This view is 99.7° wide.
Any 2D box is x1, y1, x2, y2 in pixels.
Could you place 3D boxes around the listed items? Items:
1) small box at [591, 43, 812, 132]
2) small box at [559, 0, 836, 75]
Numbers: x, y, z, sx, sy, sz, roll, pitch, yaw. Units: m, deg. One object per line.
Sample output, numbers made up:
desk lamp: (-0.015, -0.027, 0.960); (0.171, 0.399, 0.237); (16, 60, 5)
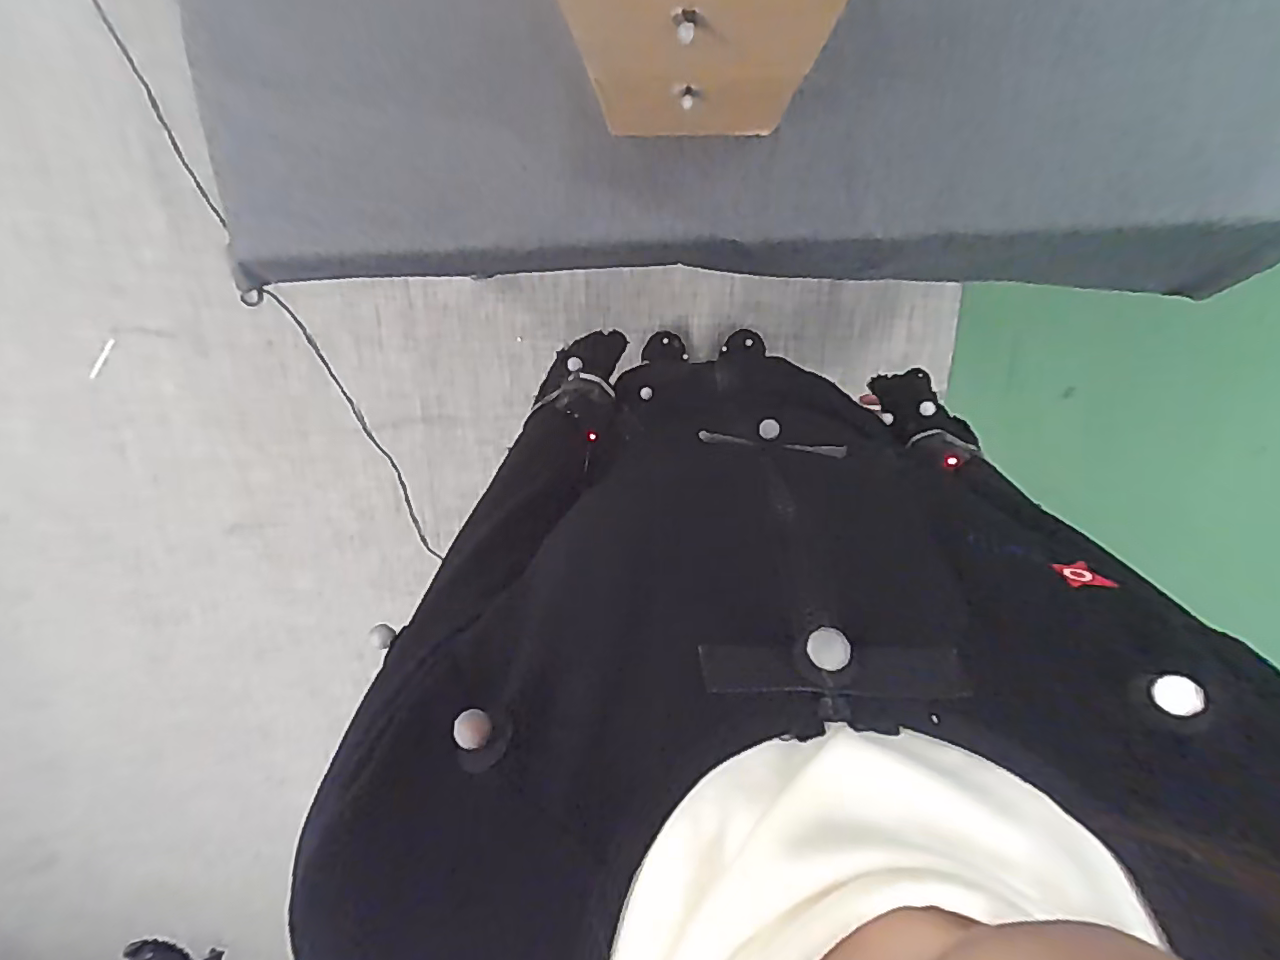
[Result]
small box: (0.054, -0.428, 0.481); (0.179, 0.176, 0.168); (1, 108, 4)
small box: (0.040, -0.374, 0.327); (0.179, 0.176, 0.168); (3, 108, 6)
